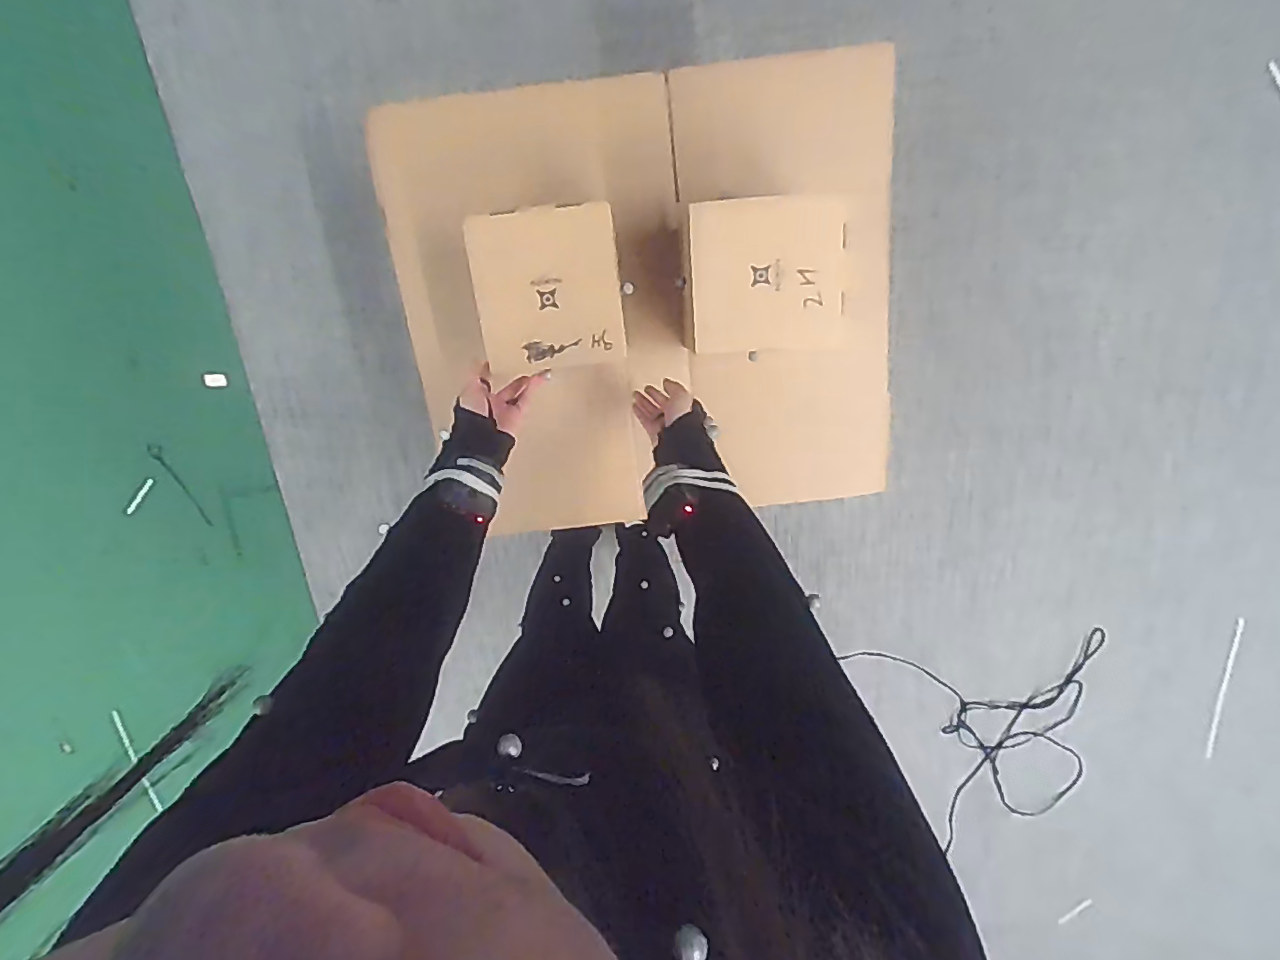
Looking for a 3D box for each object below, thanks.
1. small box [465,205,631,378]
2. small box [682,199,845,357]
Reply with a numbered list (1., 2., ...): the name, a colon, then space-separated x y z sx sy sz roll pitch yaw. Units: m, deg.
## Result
1. small box: -0.103 -0.230 0.690 0.168 0.176 0.179 -6 105 4
2. small box: 0.144 -0.247 0.692 0.179 0.176 0.168 -3 106 1
